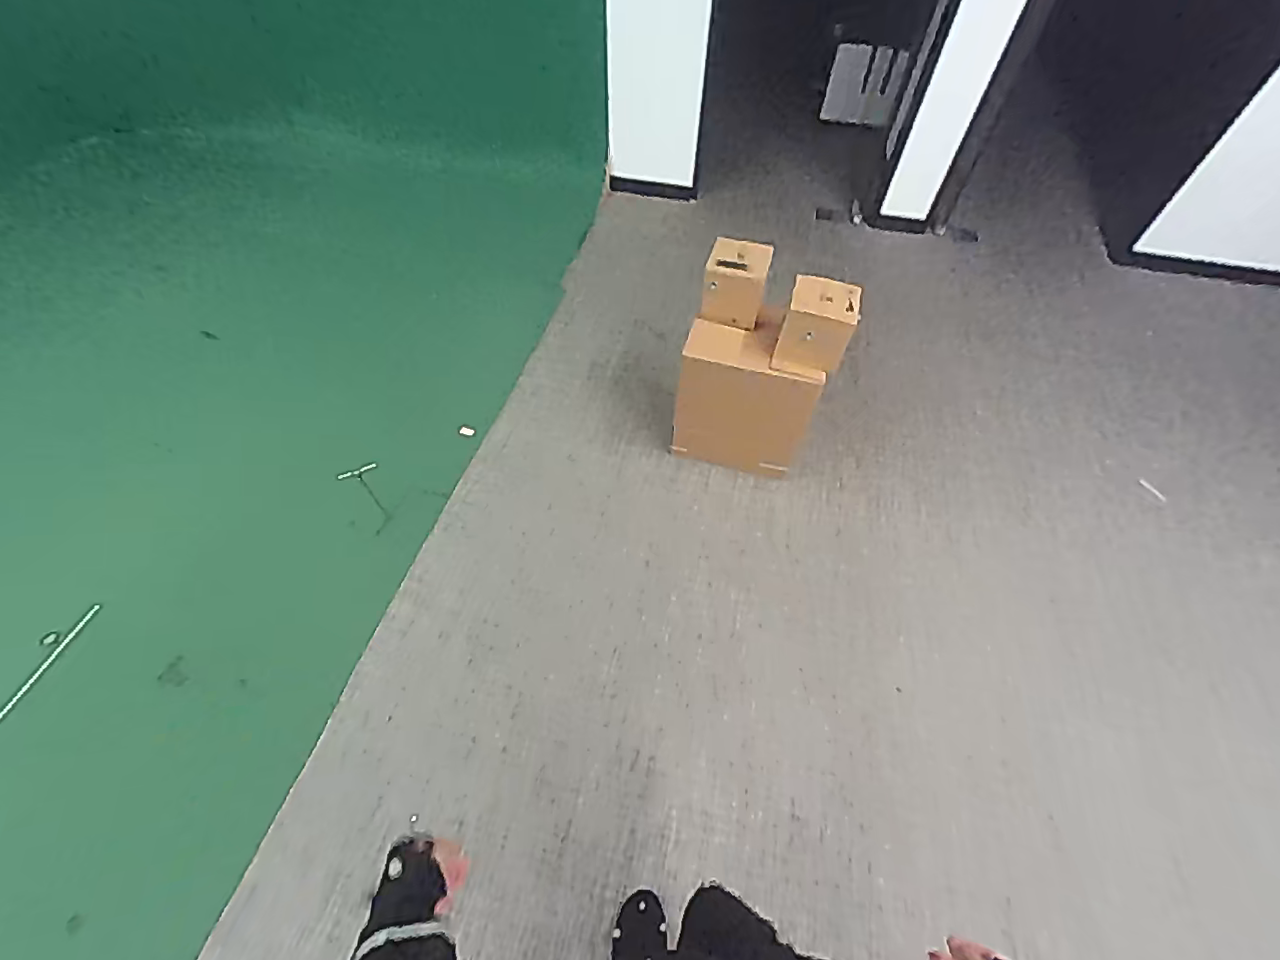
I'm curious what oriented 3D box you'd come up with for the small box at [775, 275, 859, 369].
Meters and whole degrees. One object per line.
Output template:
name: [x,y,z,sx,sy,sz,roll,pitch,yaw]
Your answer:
small box: [0.481,-0.429,1.484,0.179,0.176,0.168,15,57,9]
